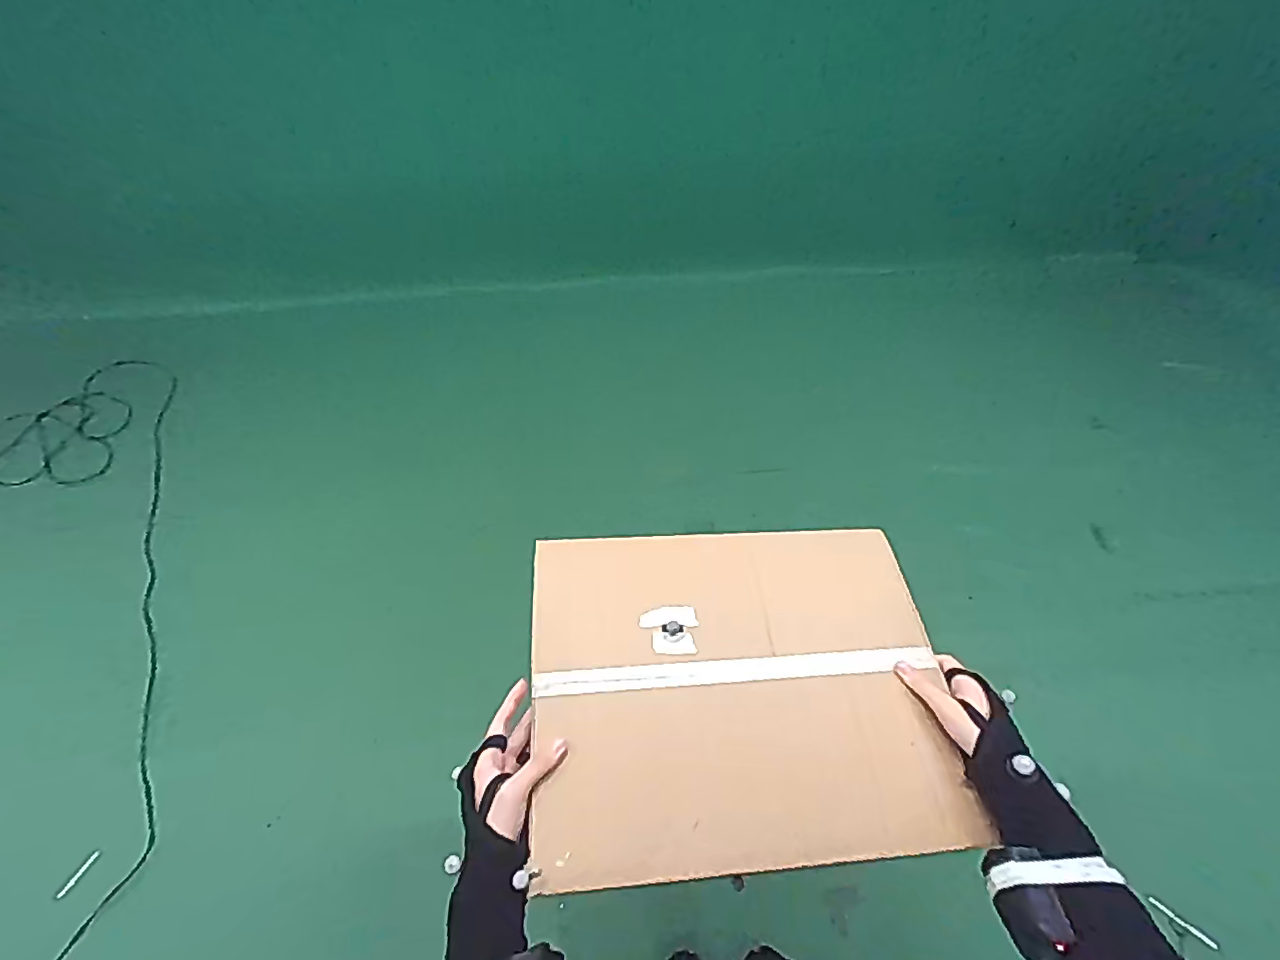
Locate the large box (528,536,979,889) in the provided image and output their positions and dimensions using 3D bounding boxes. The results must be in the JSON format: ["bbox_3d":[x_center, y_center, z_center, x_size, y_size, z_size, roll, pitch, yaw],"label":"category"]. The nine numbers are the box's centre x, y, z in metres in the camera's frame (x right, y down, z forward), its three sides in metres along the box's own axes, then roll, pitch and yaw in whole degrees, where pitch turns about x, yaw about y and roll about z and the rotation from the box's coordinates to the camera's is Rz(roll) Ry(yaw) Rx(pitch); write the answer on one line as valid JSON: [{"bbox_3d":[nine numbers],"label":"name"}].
[{"bbox_3d":[0.086,0.282,0.663,0.408,0.320,0.320,-1,55,-6],"label":"large box"}]
